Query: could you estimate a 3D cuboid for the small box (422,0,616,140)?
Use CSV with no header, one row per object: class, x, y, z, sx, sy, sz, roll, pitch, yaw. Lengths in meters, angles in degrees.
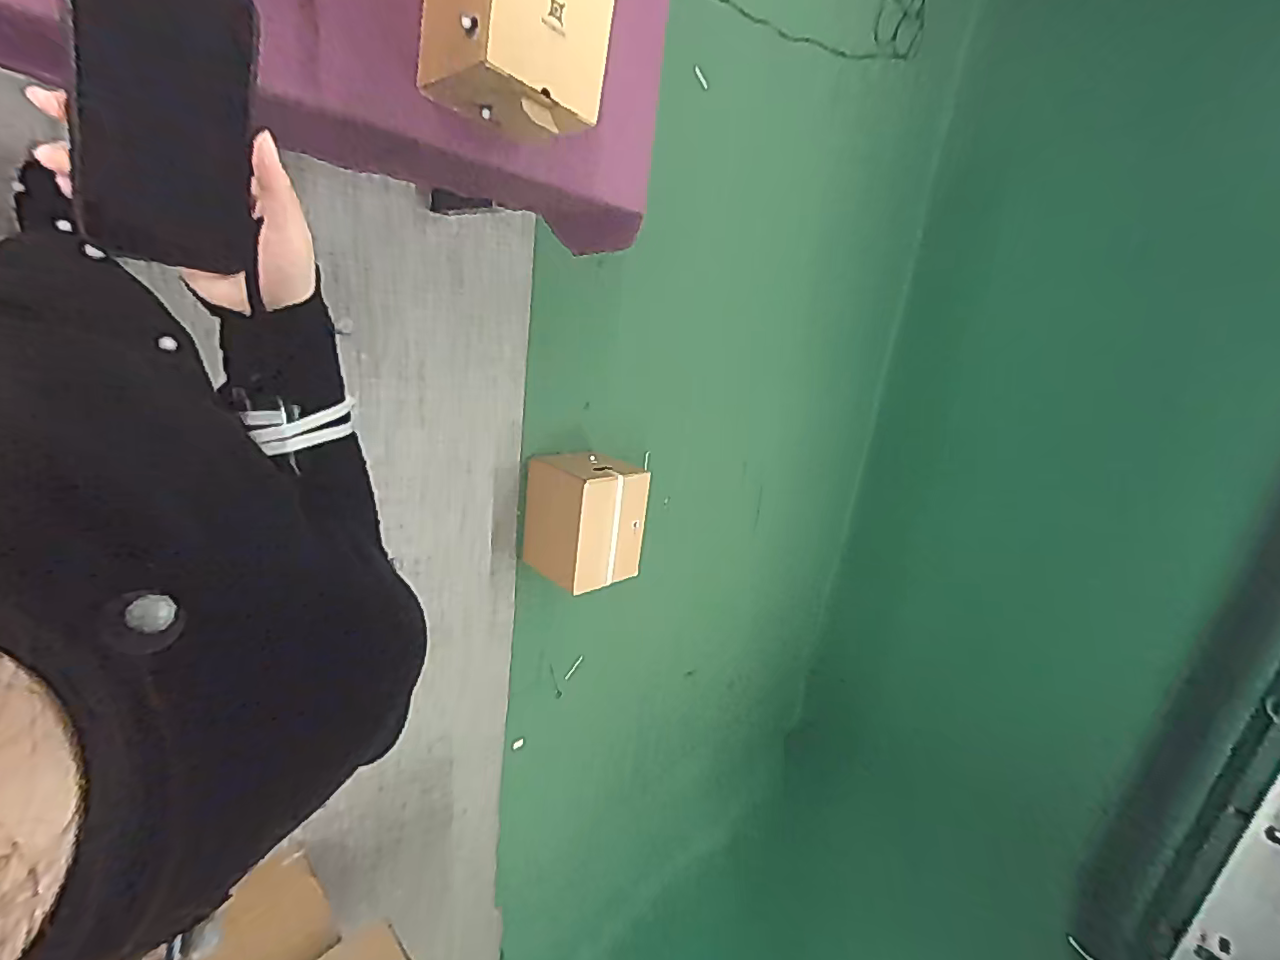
small box,-0.154,-0.557,0.674,0.168,0.176,0.179,-4,110,-47
